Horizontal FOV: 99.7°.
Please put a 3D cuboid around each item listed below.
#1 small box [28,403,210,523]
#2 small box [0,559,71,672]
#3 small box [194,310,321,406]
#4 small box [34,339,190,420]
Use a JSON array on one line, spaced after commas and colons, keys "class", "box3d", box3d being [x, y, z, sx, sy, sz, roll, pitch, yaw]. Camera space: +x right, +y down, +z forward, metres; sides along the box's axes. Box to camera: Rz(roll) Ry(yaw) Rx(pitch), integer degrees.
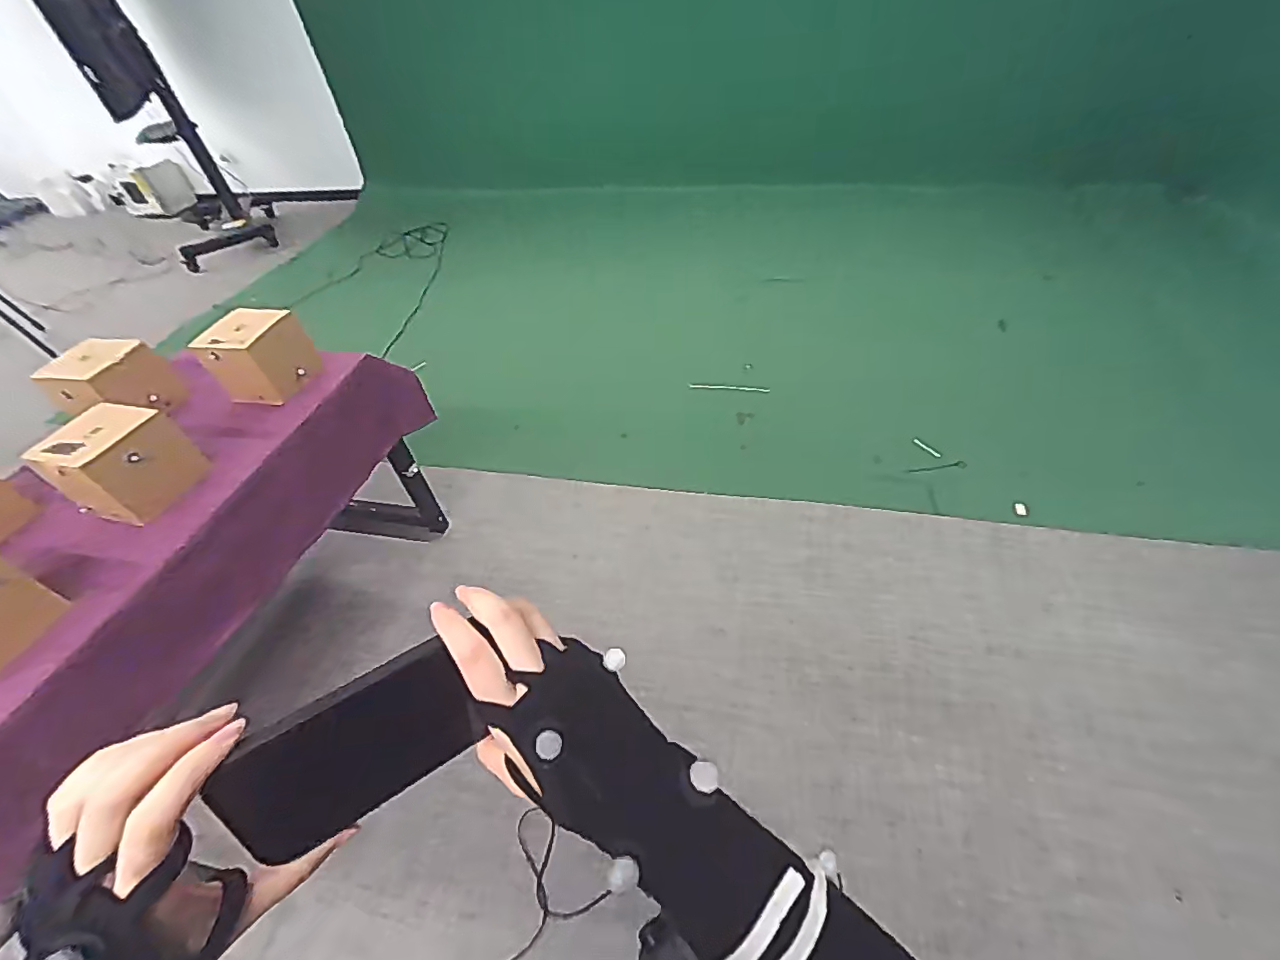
[{"class": "small box", "box3d": [-1.058, -0.034, 1.118, 0.168, 0.176, 0.179, 8, 47, 14]}, {"class": "small box", "box3d": [-1.122, 0.220, 0.881, 0.168, 0.176, 0.179, 7, 46, 13]}, {"class": "small box", "box3d": [-0.951, -0.311, 1.371, 0.168, 0.176, 0.179, 5, 47, 12]}, {"class": "small box", "box3d": [-1.284, -0.228, 1.330, 0.179, 0.176, 0.168, 4, 47, 10]}]
